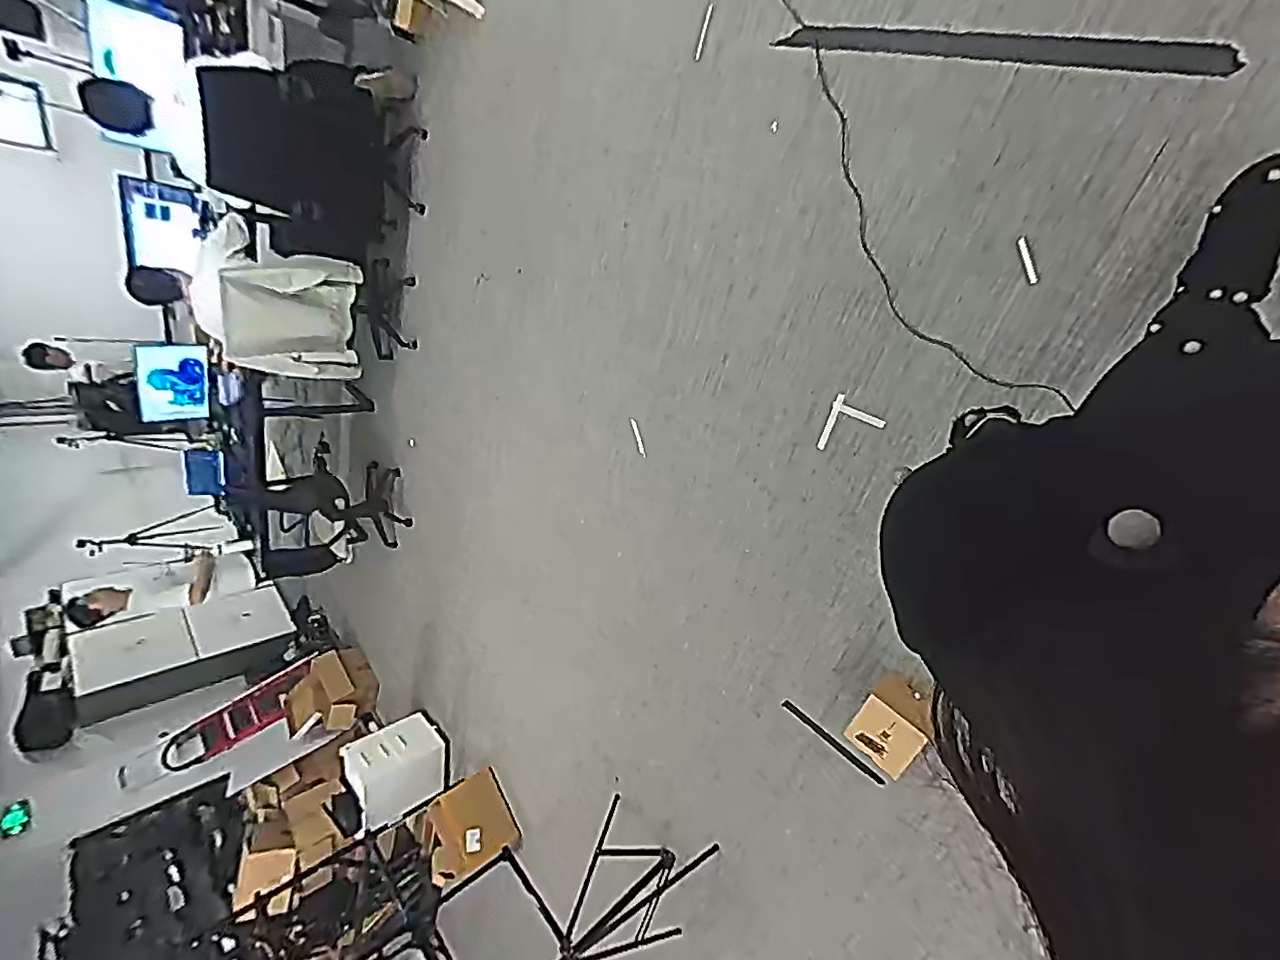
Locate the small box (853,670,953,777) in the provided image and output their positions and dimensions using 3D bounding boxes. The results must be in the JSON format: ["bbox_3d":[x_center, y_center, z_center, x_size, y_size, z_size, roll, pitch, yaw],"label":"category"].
[{"bbox_3d":[0.735,0.670,1.503,0.168,0.176,0.179,37,122,33],"label":"small box"}]
